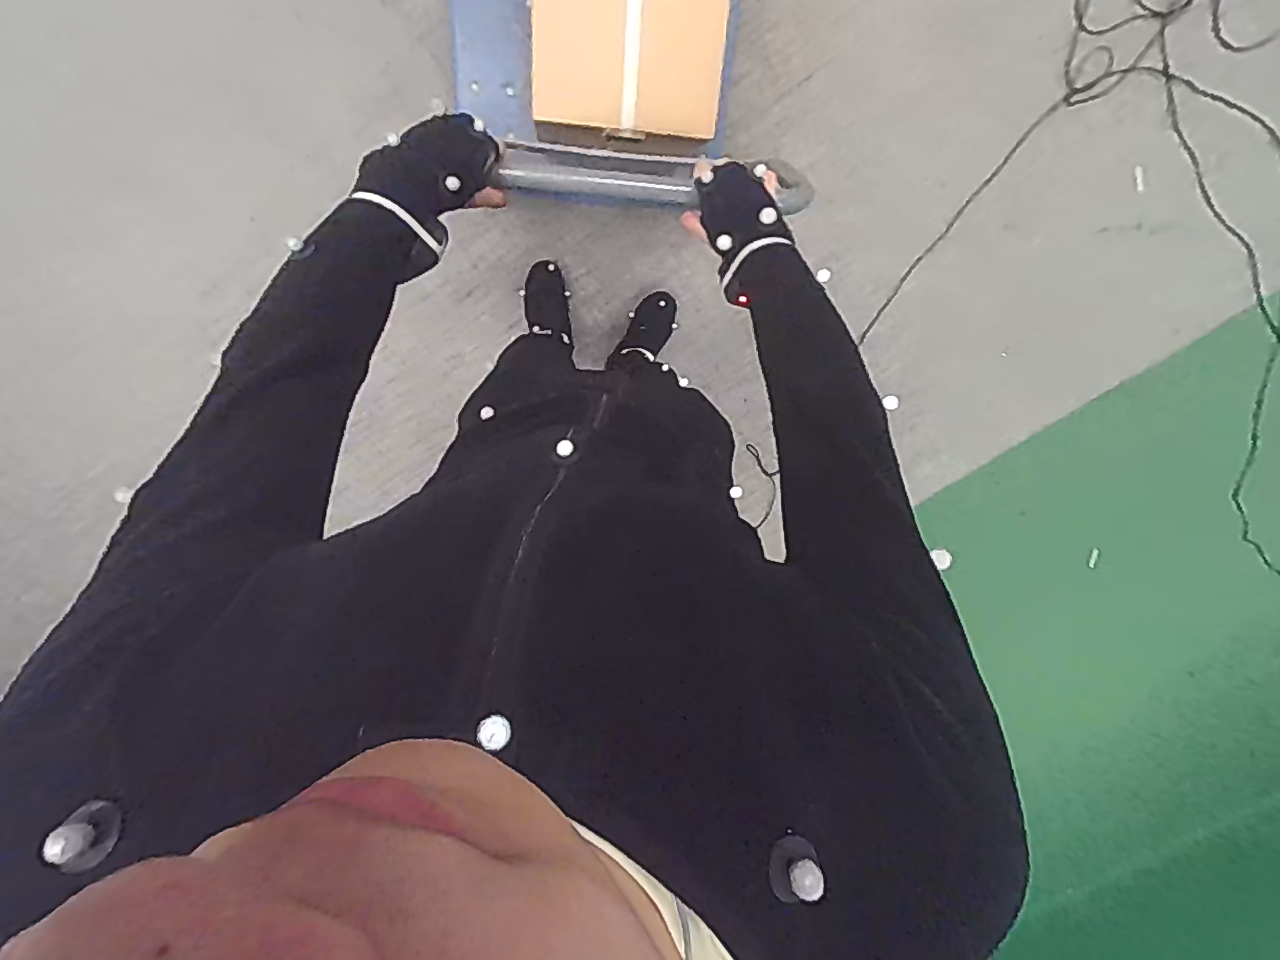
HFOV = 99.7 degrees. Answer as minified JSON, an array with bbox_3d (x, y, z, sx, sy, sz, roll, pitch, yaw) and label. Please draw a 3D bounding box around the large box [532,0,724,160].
[{"bbox_3d":[-0.031,-0.842,0.992,0.320,0.320,0.408,1,114,-9],"label":"large box"}]
